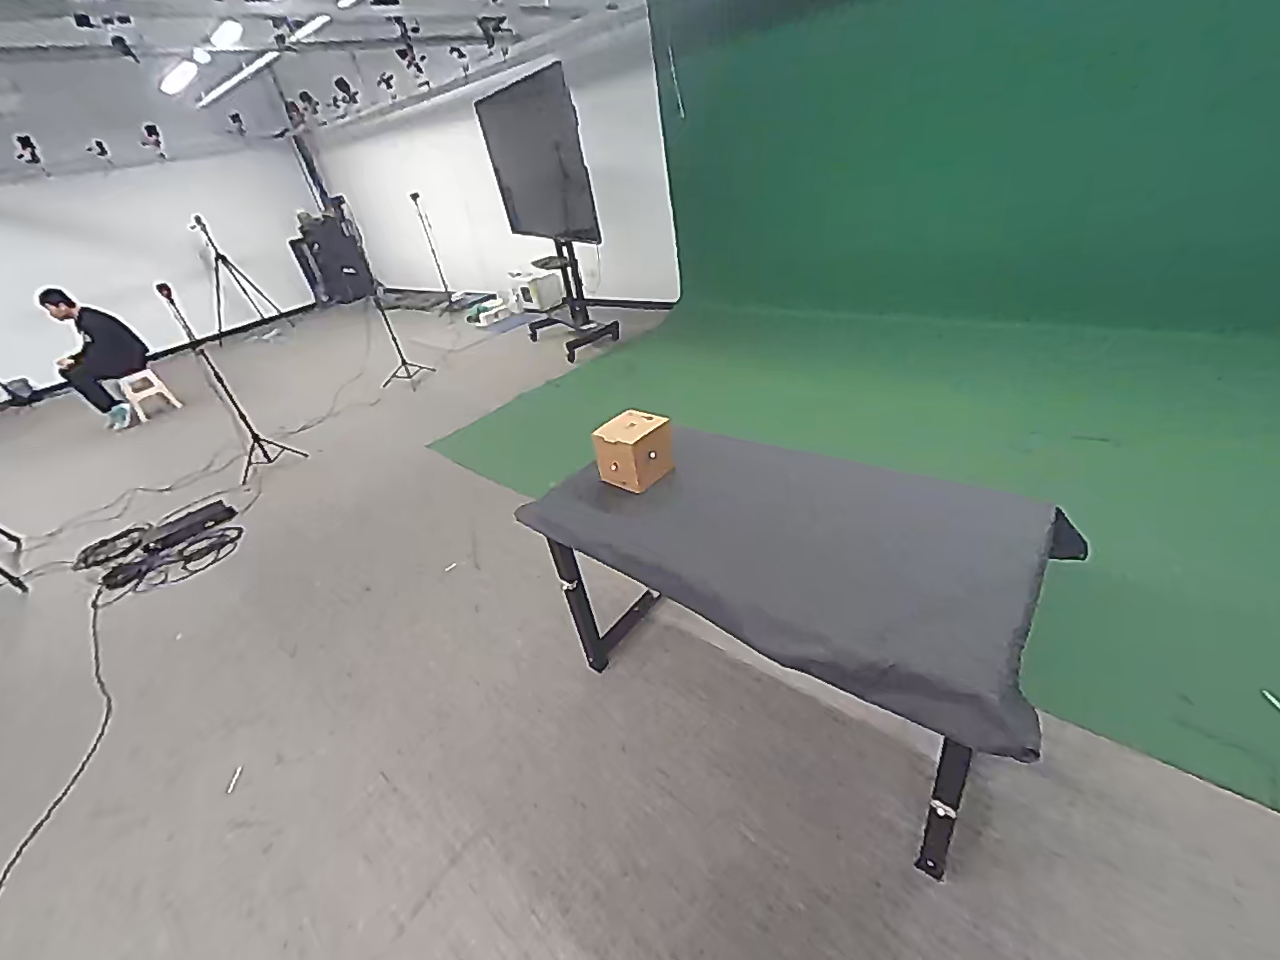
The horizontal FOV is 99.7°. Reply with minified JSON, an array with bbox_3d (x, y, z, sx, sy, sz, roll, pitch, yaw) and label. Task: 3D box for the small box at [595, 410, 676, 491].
[{"bbox_3d":[-0.006,-0.089,1.642,0.168,0.176,0.179,20,44,38],"label":"small box"}]
